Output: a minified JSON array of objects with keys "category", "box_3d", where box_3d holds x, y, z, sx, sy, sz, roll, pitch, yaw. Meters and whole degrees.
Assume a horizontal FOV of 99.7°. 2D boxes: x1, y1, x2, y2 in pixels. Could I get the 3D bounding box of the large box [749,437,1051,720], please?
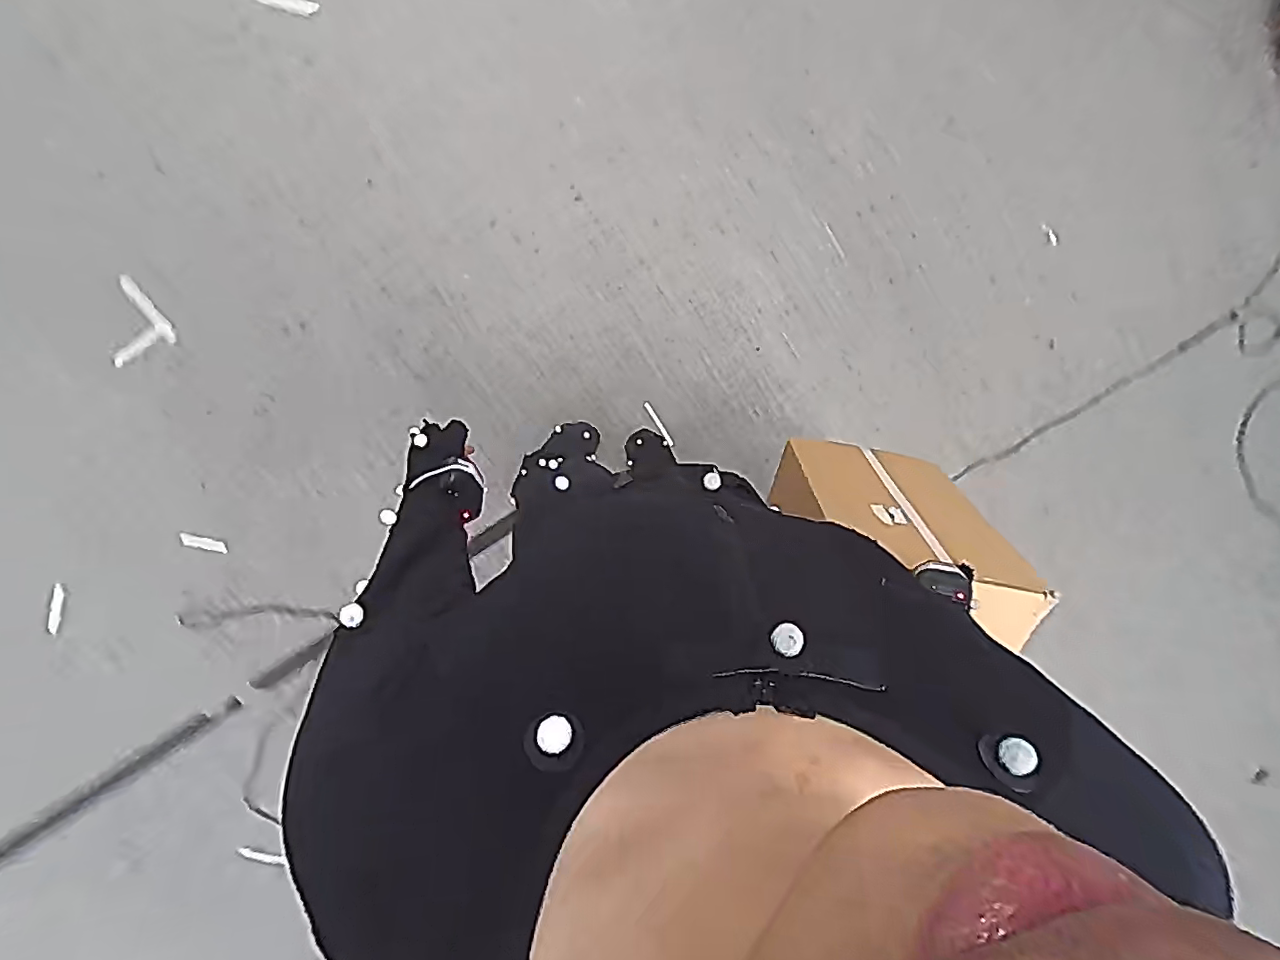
[{"category":"large box","box_3d":[0.420,0.164,1.011,0.320,0.408,0.320,8,121,-3]}]
